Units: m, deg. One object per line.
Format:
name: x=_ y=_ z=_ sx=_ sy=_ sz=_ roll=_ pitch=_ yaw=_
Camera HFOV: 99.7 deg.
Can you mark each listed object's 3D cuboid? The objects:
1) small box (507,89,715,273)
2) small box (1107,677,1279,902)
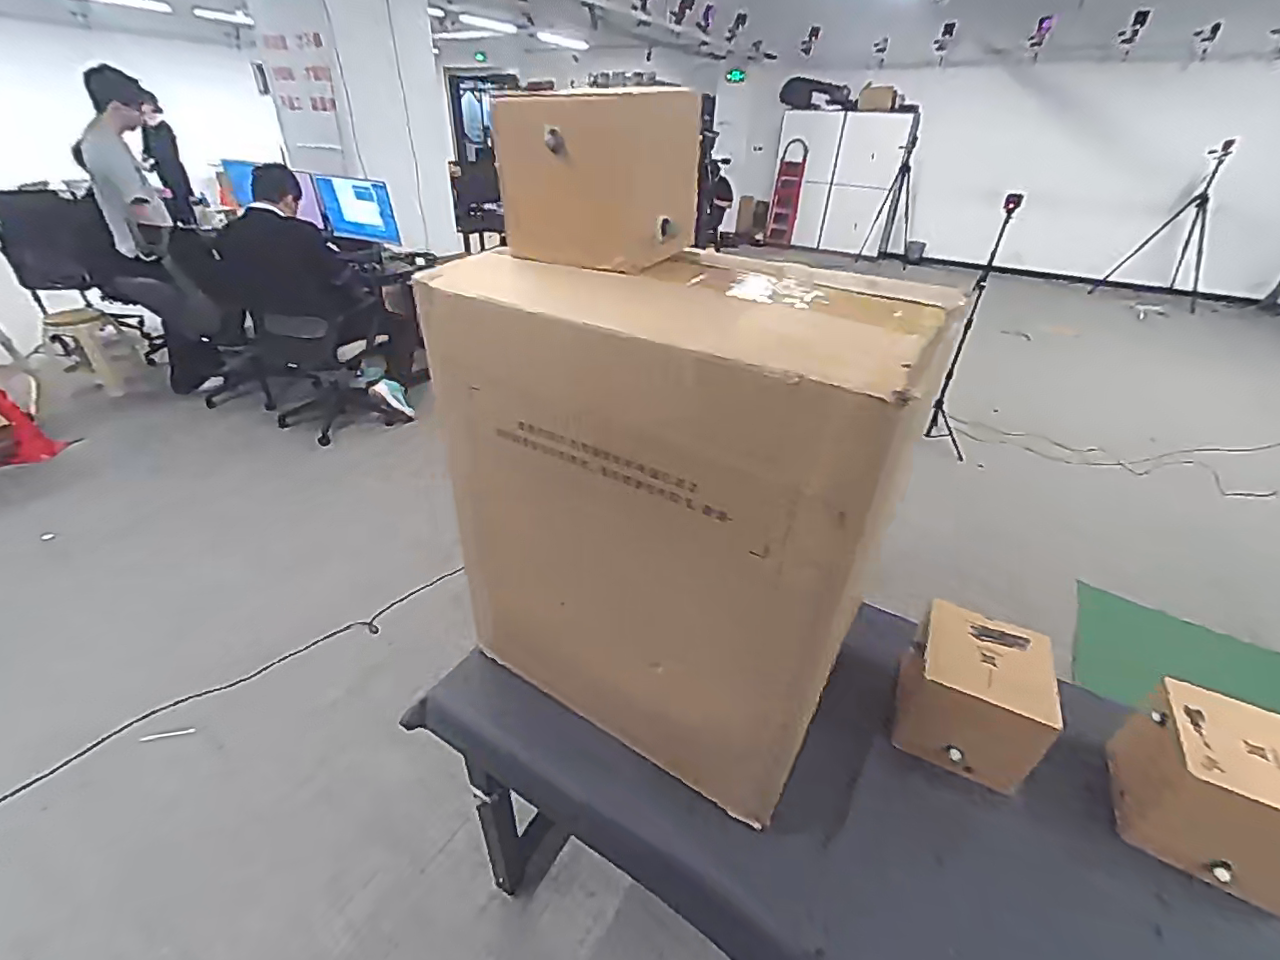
small box: x=-0.028 y=-0.356 z=0.640 sx=0.179 sy=0.176 sz=0.168 roll=19 pitch=42 yaw=22
small box: x=0.768 y=0.406 z=0.712 sx=0.179 sy=0.176 sz=0.168 roll=20 pitch=37 yaw=25
